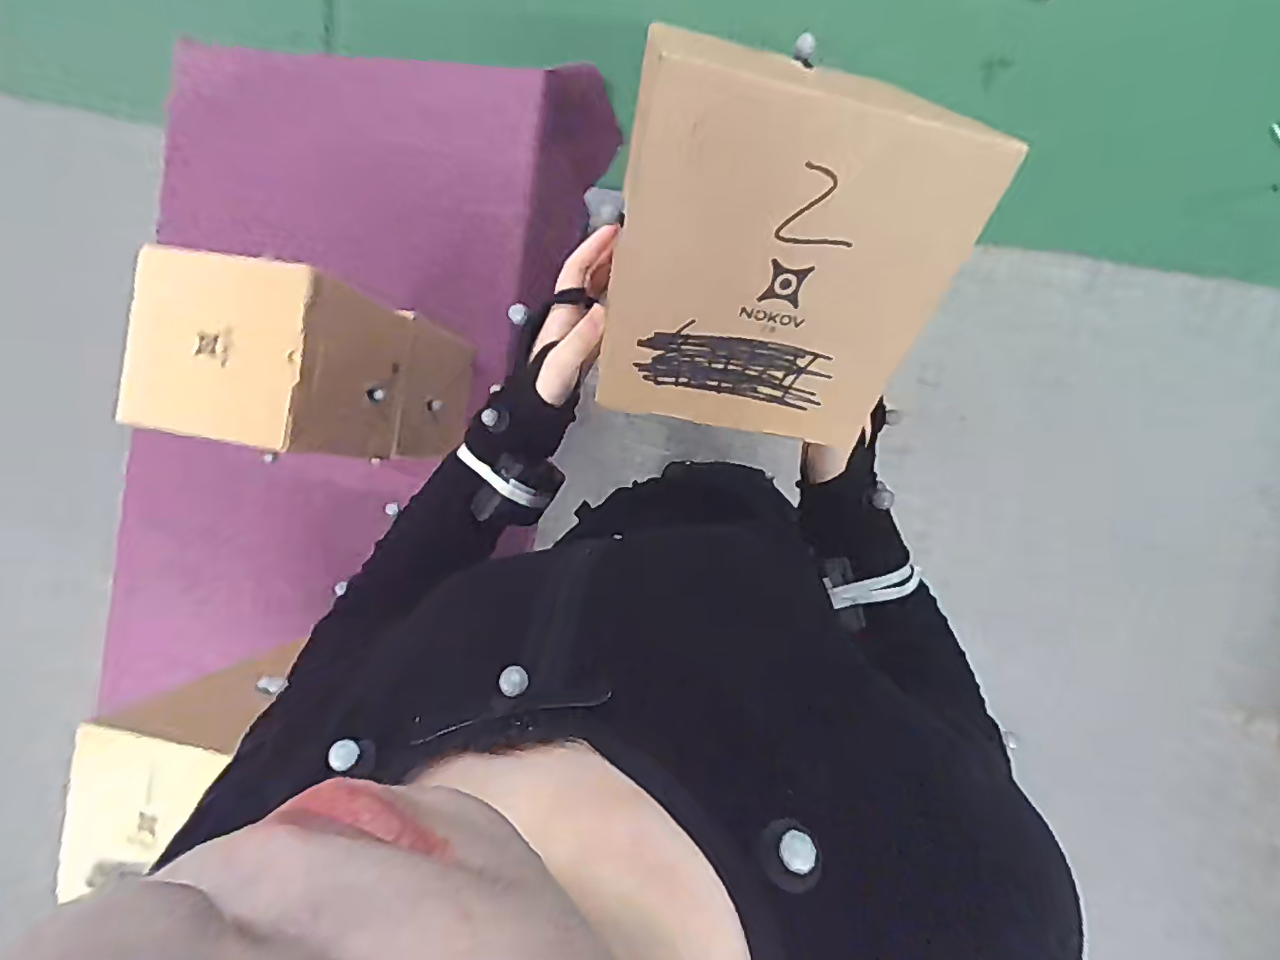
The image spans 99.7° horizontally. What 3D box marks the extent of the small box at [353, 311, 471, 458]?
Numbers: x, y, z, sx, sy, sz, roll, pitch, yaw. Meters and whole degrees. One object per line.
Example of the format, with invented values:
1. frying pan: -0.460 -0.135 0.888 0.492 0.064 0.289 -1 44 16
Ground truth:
1. small box: -0.345 -0.124 0.729 0.168 0.176 0.179 8 92 7

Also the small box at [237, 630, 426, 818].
1. small box: -0.419 0.316 0.739 0.179 0.176 0.168 8 90 7

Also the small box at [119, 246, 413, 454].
1. small box: -0.373 -0.122 0.568 0.179 0.176 0.168 9 91 7

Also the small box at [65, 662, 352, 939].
1. small box: -0.439 0.318 0.576 0.168 0.176 0.179 8 90 7
